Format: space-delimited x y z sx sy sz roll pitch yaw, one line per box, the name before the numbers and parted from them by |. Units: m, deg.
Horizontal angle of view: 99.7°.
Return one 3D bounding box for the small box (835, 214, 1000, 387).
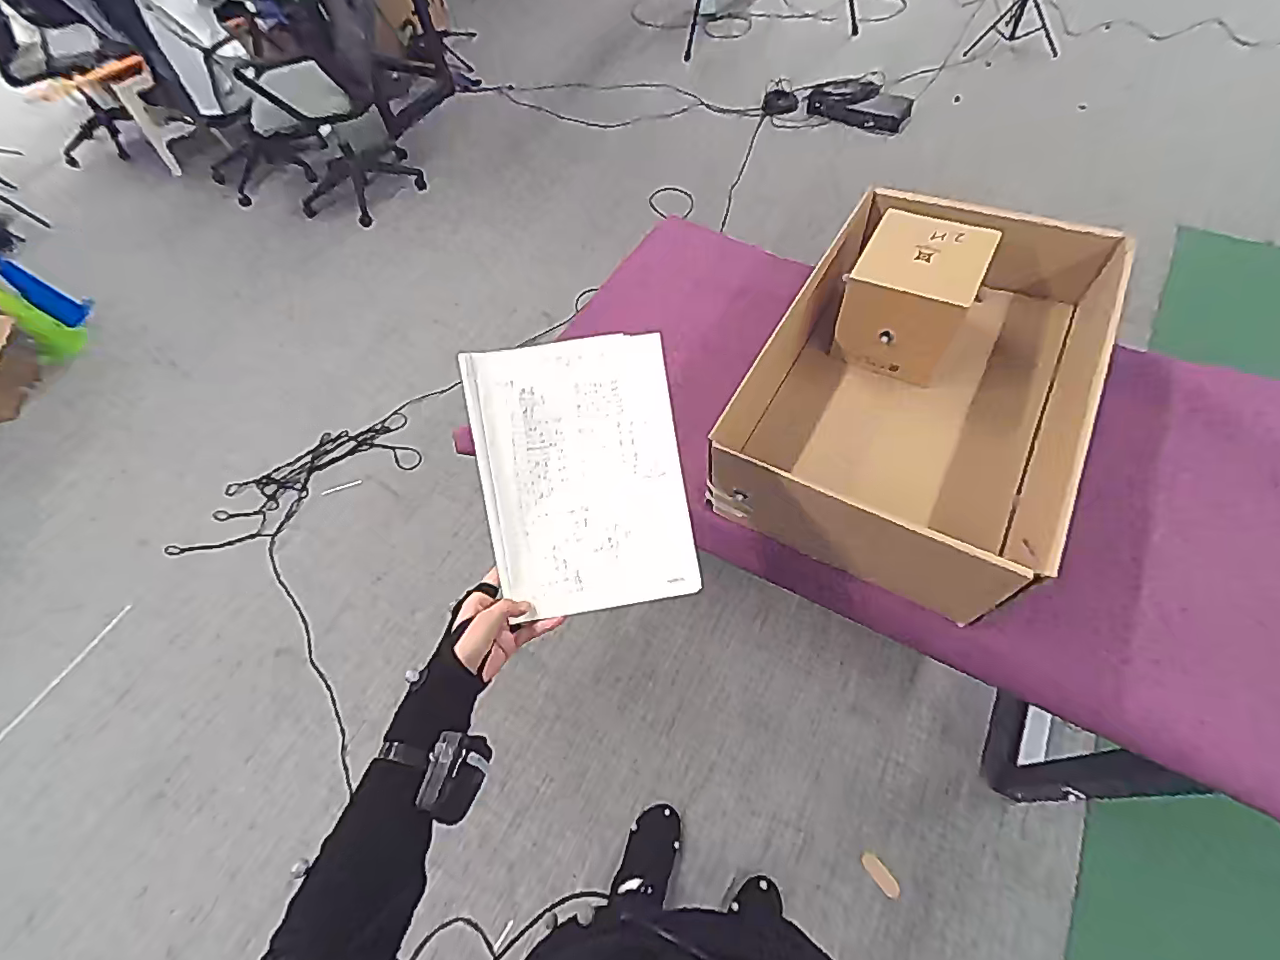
small box | 0.421 -0.277 0.849 0.168 0.176 0.179 25 65 21
